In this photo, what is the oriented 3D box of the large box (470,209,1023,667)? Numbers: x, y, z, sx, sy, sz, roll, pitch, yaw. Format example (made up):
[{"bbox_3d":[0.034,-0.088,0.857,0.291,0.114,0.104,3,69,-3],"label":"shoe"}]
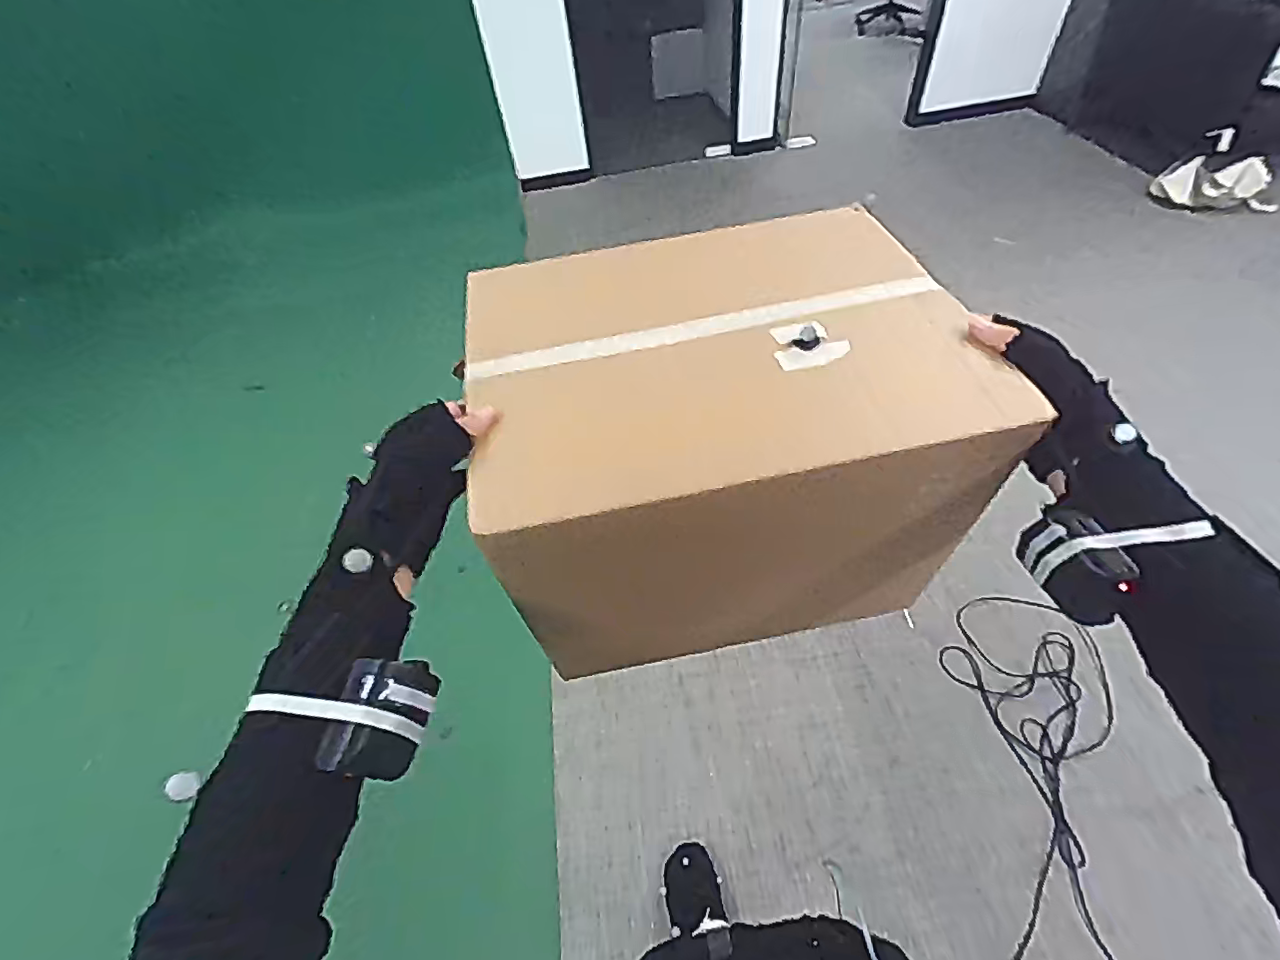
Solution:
[{"bbox_3d":[0.063,-0.037,0.579,0.408,0.320,0.320,-11,54,-3],"label":"large box"}]
